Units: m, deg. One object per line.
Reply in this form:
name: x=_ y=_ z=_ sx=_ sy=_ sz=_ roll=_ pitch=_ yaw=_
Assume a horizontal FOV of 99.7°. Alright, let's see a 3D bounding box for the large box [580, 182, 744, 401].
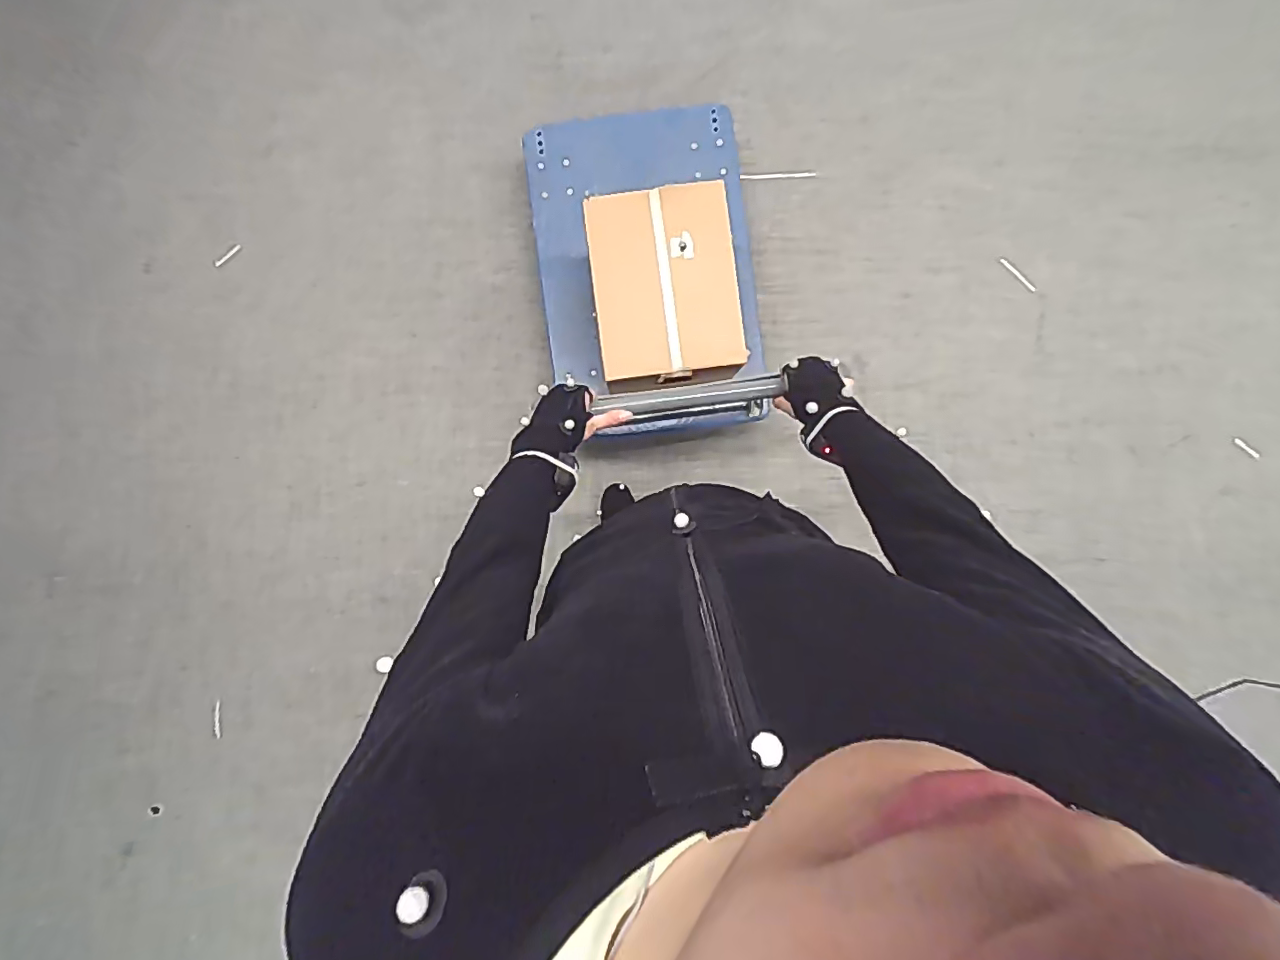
large box: x=0.050 y=-0.434 z=1.328 sx=0.320 sy=0.320 sz=0.408 roll=-8 pitch=89 yaw=0
